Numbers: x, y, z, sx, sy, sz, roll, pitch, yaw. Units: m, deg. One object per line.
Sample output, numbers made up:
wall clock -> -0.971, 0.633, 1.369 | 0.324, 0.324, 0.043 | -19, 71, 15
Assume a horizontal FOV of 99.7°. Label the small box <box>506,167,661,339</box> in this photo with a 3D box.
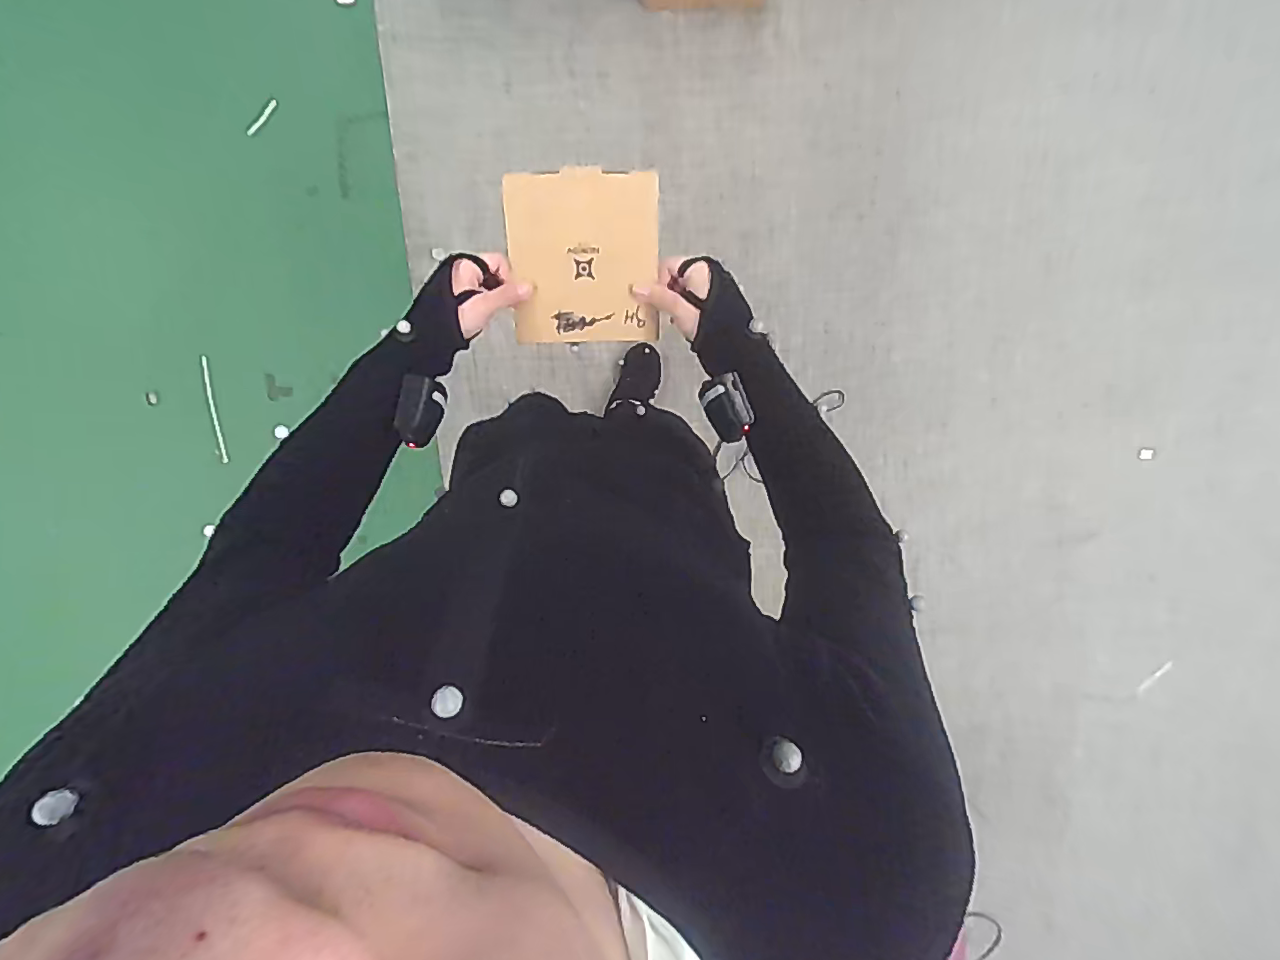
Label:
small box -> -0.063, -0.268, 0.668 | 0.168, 0.176, 0.179 | -2, 109, -2
